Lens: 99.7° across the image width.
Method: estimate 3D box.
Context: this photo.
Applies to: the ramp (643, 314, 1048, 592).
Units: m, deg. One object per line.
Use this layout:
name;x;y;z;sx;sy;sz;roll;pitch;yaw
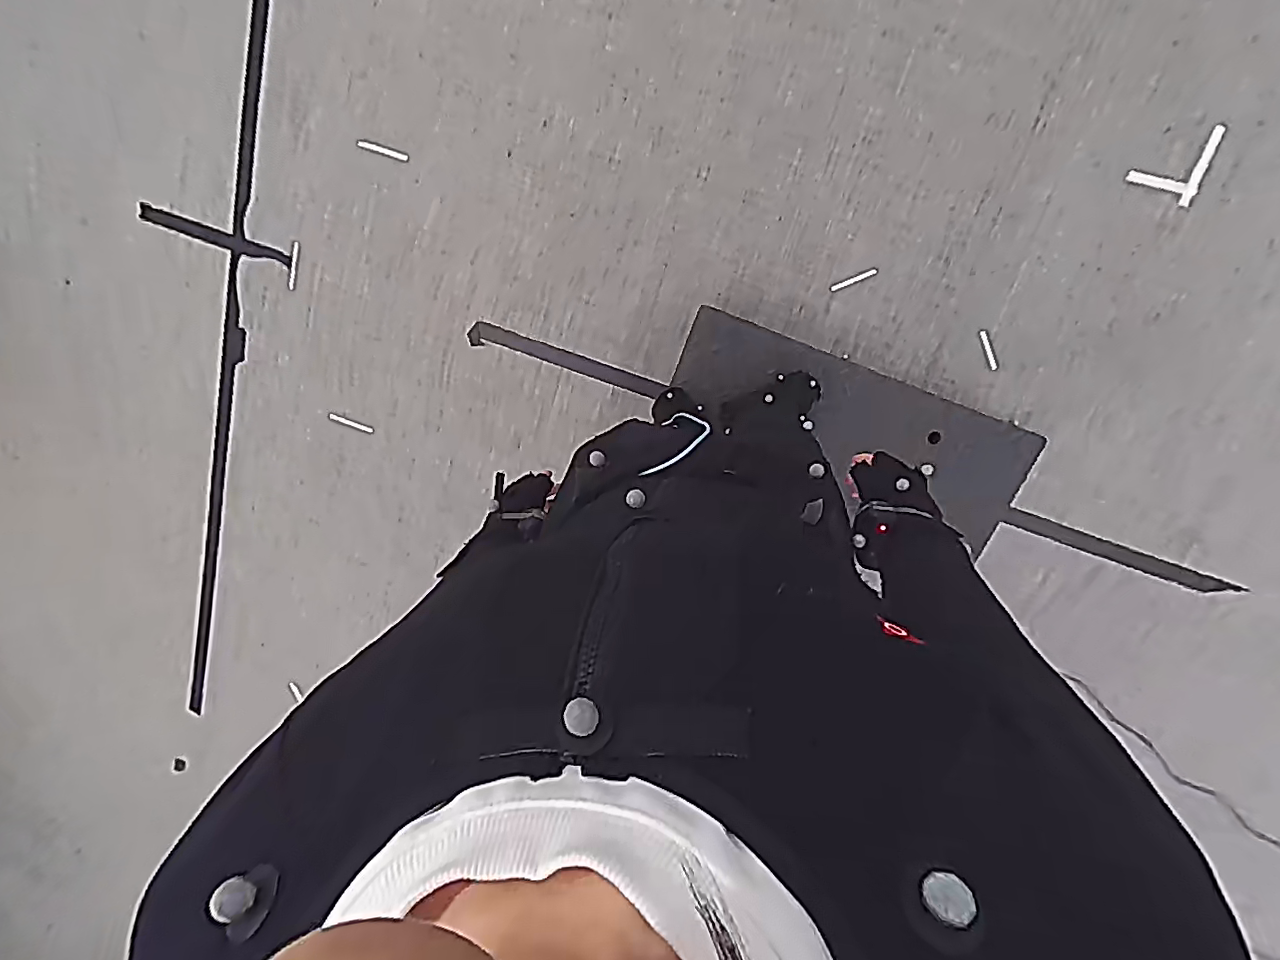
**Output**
ramp;0.549;-0.048;1.450;0.991;0.206;0.509;18;103;4
